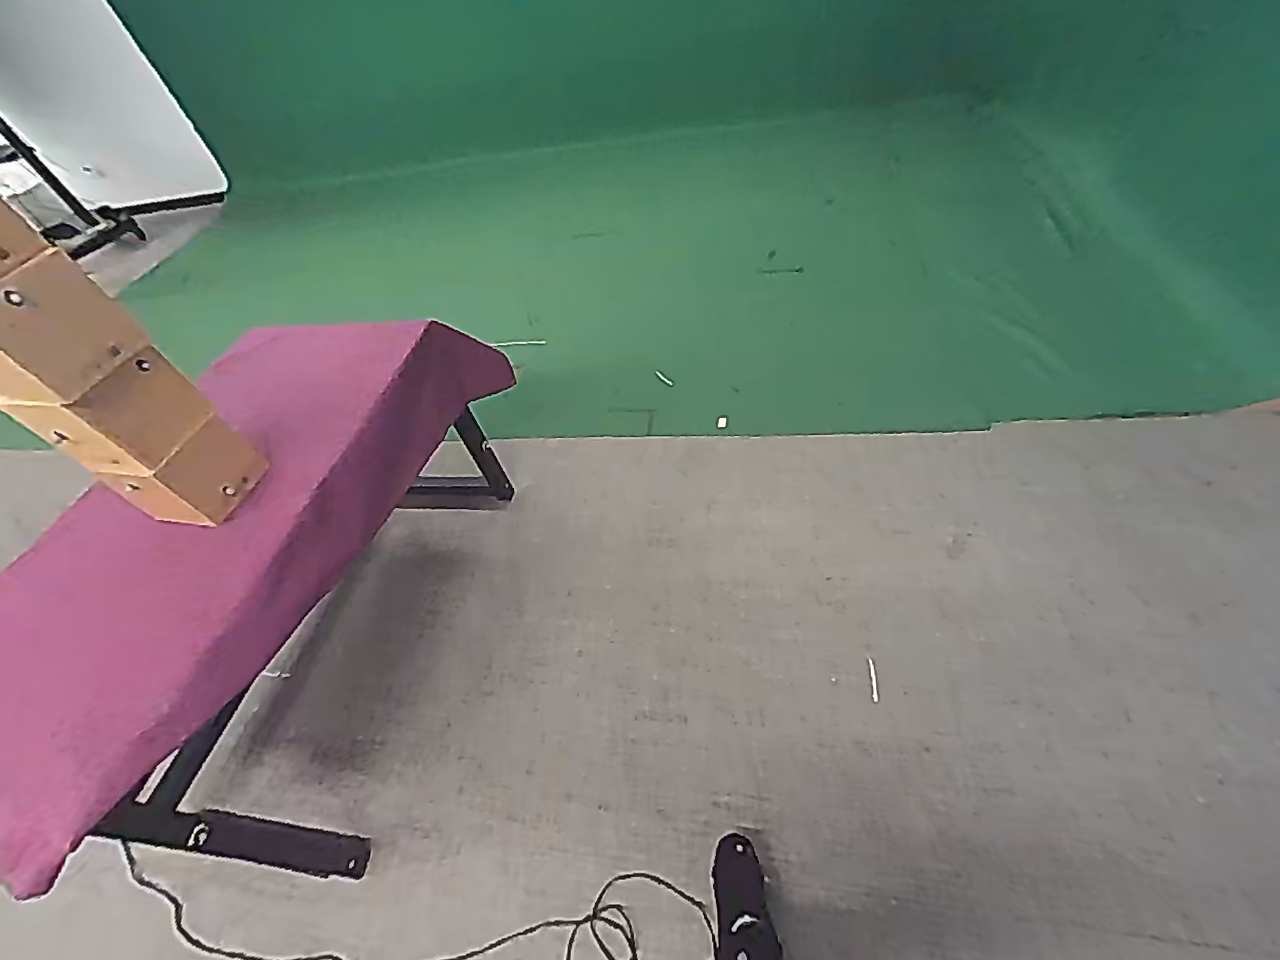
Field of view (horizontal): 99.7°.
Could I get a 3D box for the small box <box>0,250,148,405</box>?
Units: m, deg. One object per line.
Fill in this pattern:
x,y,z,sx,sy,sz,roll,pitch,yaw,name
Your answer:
-0.942,-0.231,0.835,0.179,0.176,0.168,5,52,18,small box

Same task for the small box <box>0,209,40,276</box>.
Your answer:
-0.985,-0.334,0.712,0.179,0.176,0.168,1,51,15,small box

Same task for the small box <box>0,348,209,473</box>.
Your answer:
-0.936,-0.128,0.964,0.168,0.176,0.179,3,52,15,small box

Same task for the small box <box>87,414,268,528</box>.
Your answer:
-0.909,-0.020,1.081,0.179,0.176,0.168,5,53,16,small box
